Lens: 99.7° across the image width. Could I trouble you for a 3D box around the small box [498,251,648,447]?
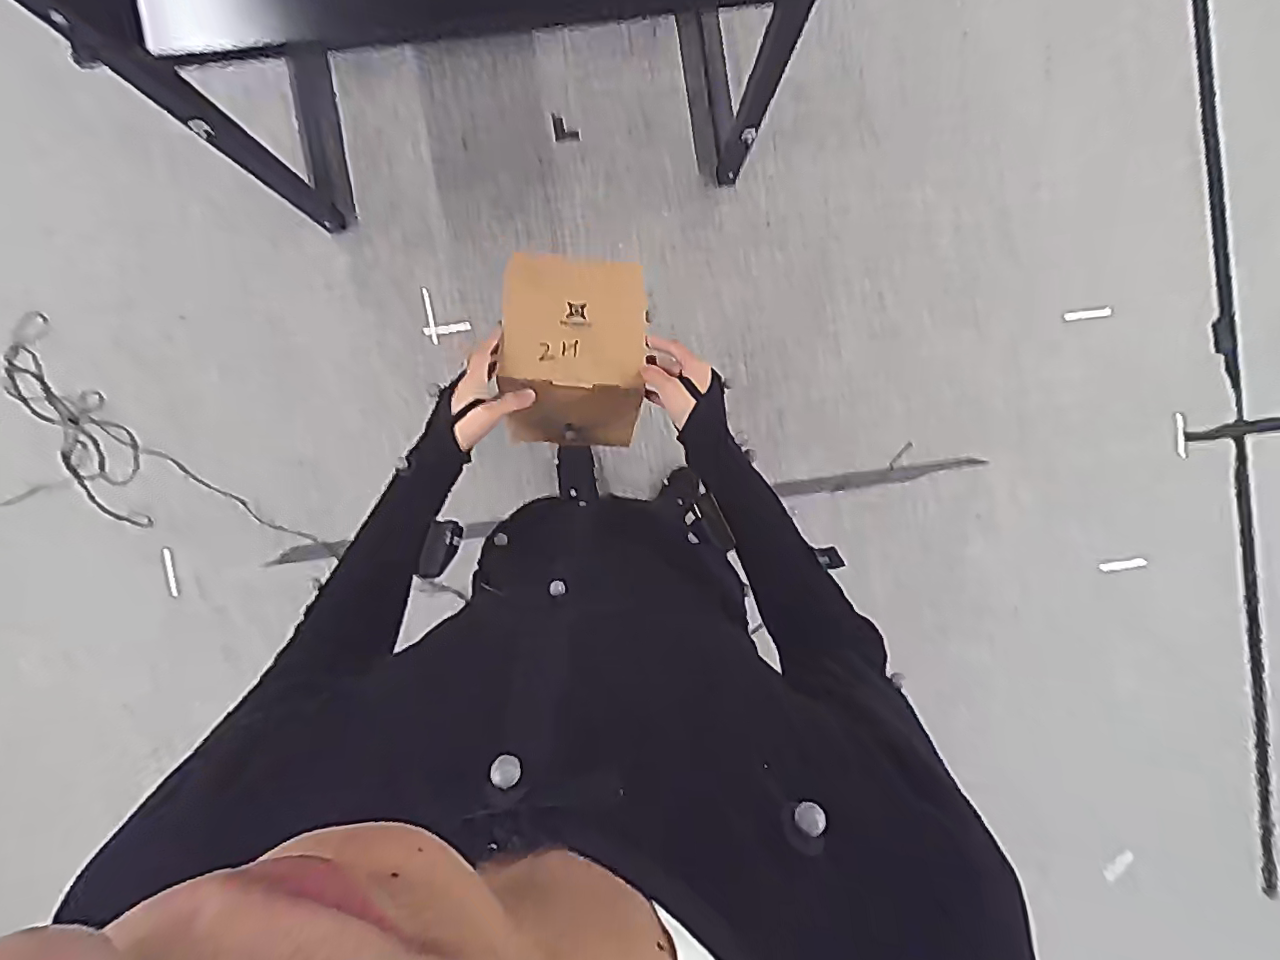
[{"bbox_3d":[-0.083,-0.159,0.694,0.168,0.176,0.179,3,70,-7],"label":"small box"}]
